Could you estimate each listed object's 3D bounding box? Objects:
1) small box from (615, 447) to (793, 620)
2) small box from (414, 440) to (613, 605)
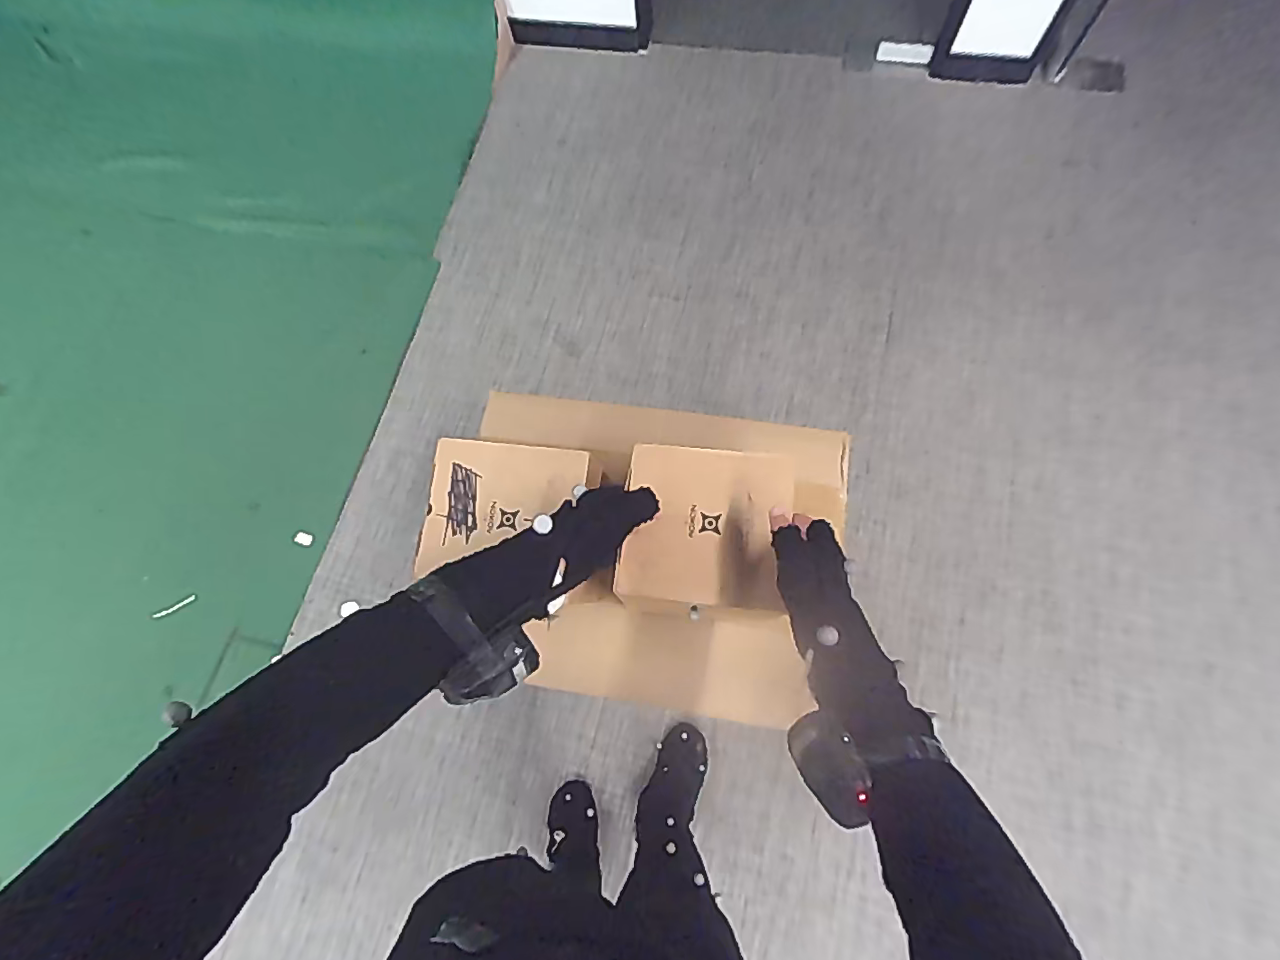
[{"bbox_3d":[0.074,0.071,0.638,0.179,0.176,0.168,5,73,5],"label":"small box"},{"bbox_3d":[-0.139,0.059,0.660,0.179,0.176,0.168,6,79,6],"label":"small box"}]
